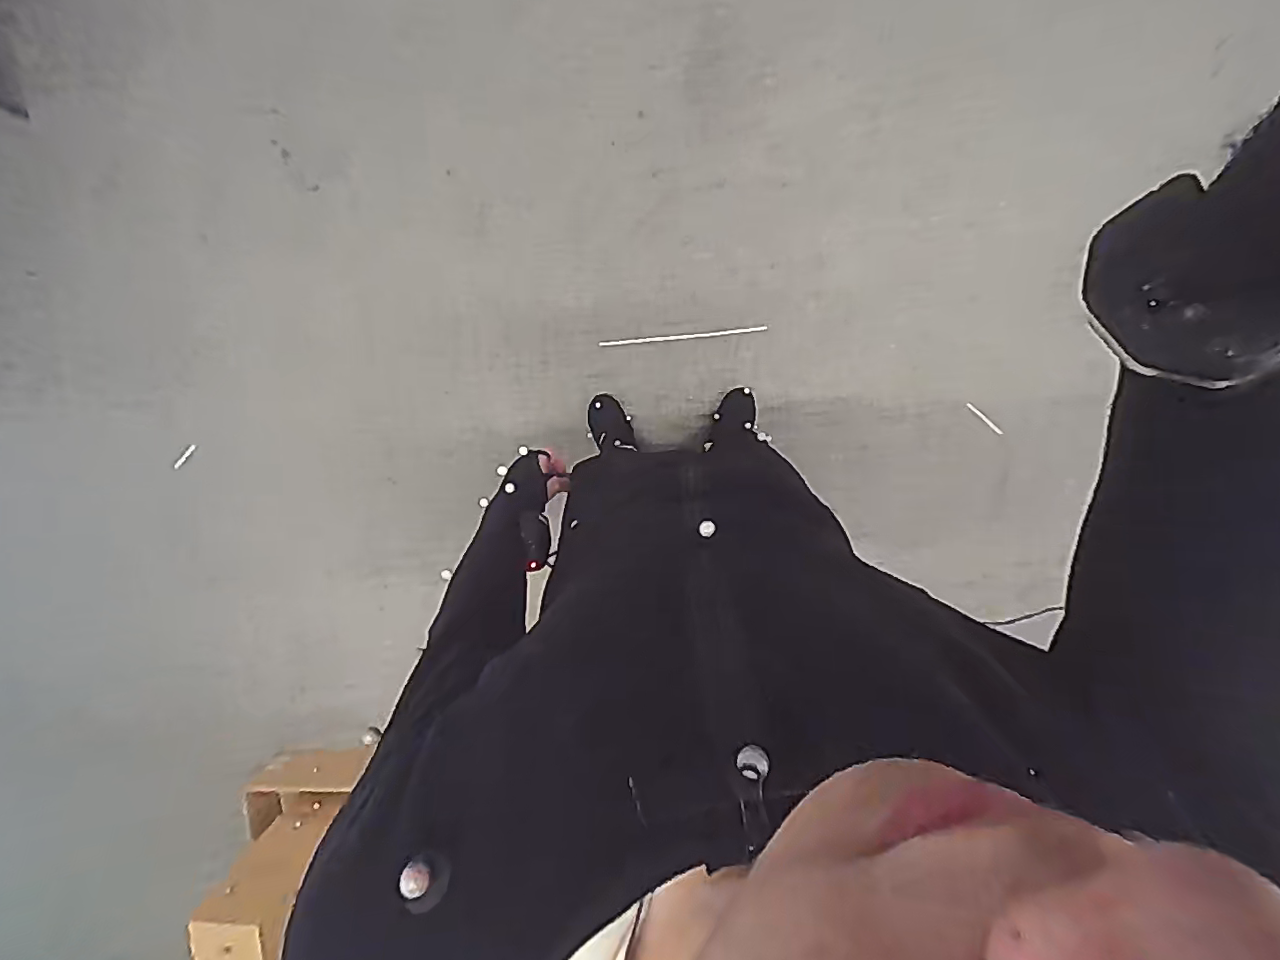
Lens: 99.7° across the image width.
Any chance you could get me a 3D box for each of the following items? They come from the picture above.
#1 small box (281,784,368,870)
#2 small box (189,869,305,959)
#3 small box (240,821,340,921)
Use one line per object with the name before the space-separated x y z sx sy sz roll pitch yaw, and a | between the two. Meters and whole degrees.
small box | -0.998 1.098 1.721 0.179 0.176 0.168 0 100 2
small box | -1.008 1.149 1.398 0.179 0.176 0.168 2 101 1
small box | -1.003 1.119 1.559 0.179 0.176 0.168 2 100 2
